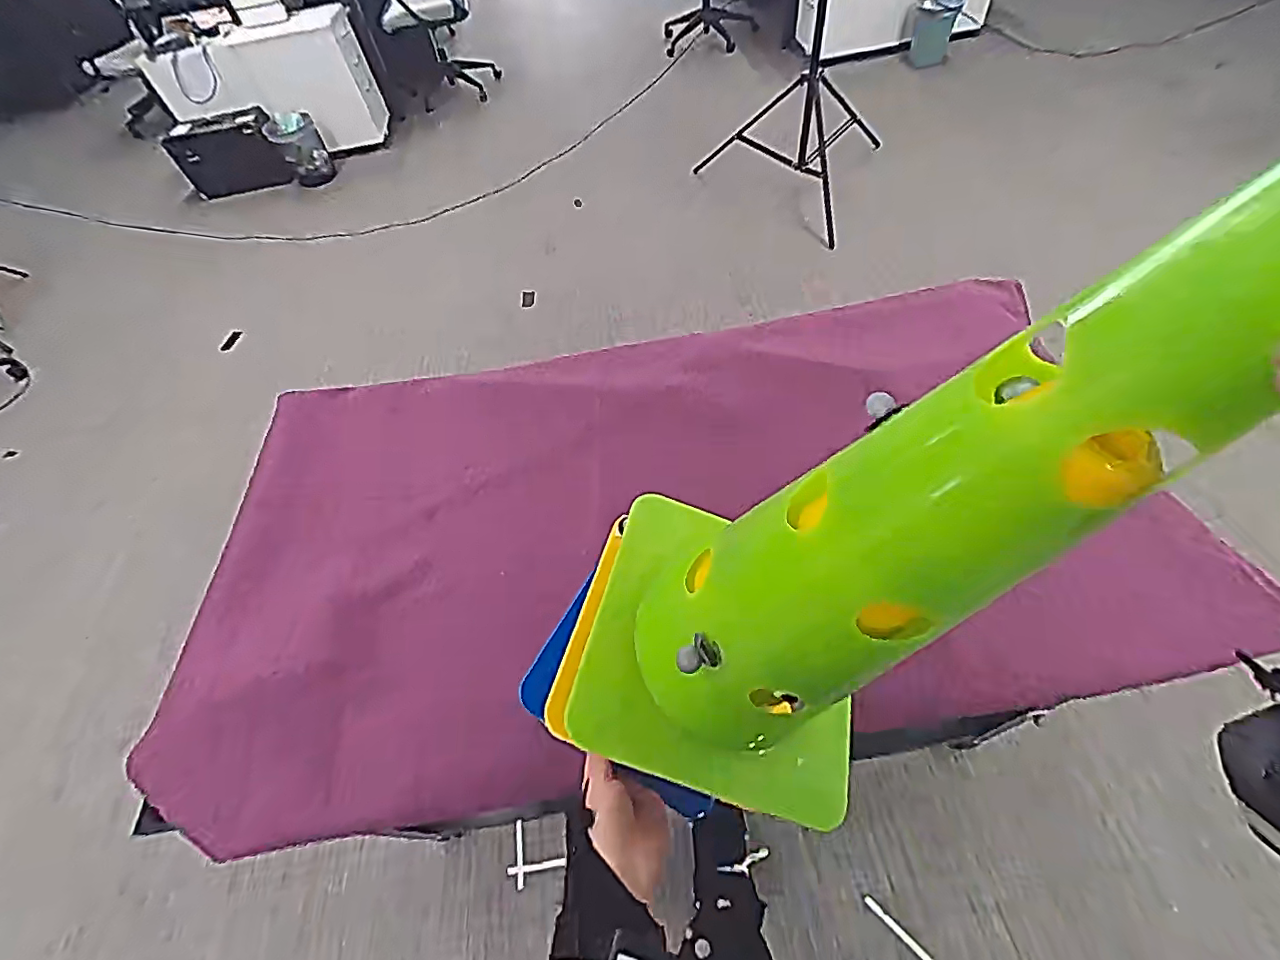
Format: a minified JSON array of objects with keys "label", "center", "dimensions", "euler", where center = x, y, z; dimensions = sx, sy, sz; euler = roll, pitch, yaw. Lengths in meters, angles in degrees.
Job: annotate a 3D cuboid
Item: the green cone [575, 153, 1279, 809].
[{"label":"green cone","center":[0.112,0.020,0.254],"dimensions":[0.200,0.368,0.202],"euler":[20,56,-4]}]
